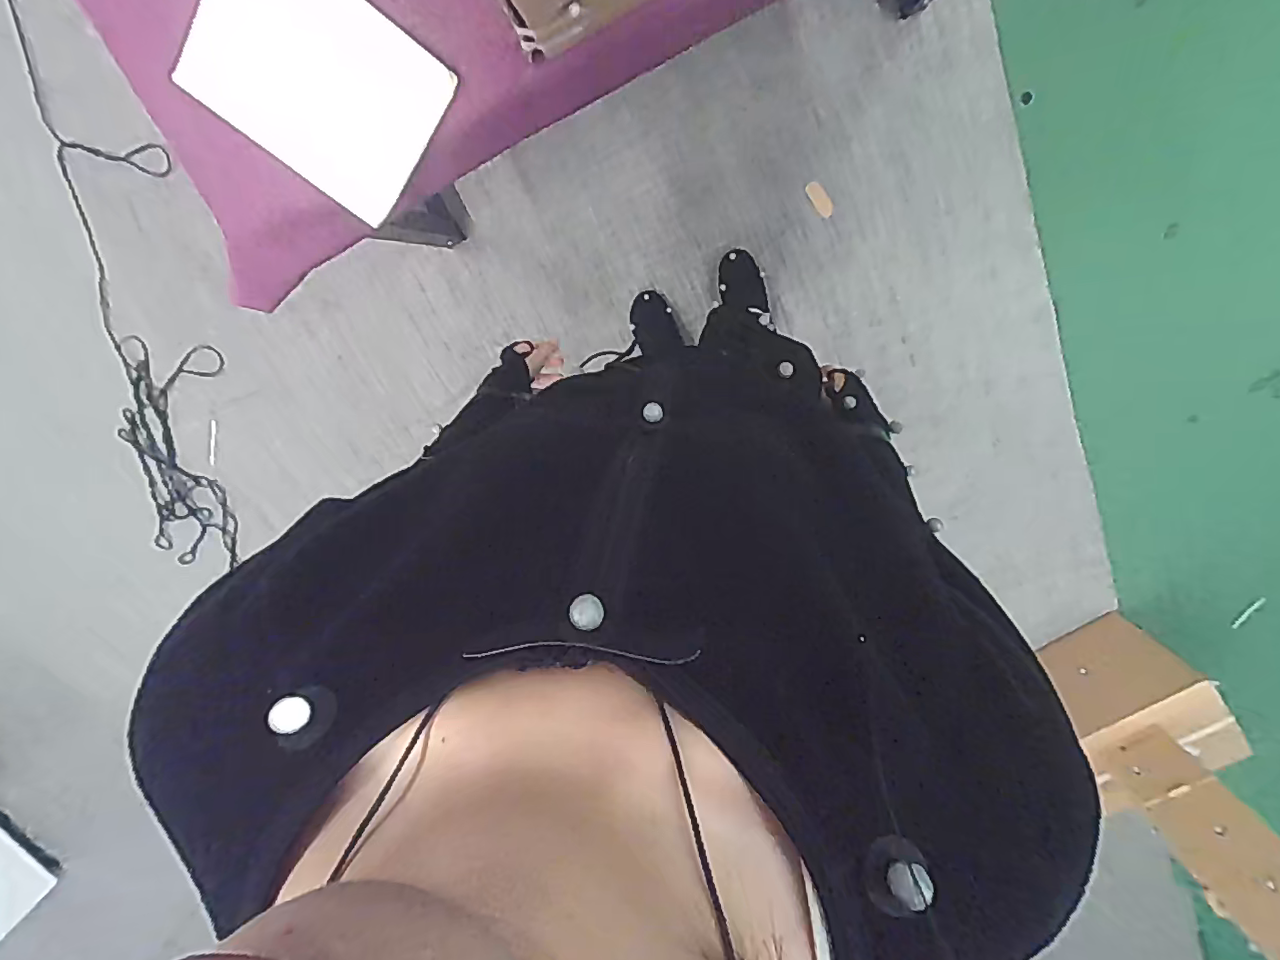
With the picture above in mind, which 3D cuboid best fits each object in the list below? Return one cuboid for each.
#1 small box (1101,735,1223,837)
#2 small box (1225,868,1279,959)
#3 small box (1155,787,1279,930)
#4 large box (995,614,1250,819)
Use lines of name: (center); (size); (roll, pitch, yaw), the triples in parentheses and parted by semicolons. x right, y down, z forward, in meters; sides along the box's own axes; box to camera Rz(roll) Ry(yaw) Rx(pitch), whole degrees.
small box: (1.317, 0.773, 1.351); (0.168, 0.176, 0.179); (-36, 104, 14)
small box: (1.306, 0.889, 1.044); (0.179, 0.176, 0.168); (-36, 104, 15)
small box: (1.310, 0.832, 1.199); (0.179, 0.176, 0.168); (-38, 104, 14)
large box: (1.367, 0.675, 1.573); (0.408, 0.320, 0.320); (-38, 105, 13)
